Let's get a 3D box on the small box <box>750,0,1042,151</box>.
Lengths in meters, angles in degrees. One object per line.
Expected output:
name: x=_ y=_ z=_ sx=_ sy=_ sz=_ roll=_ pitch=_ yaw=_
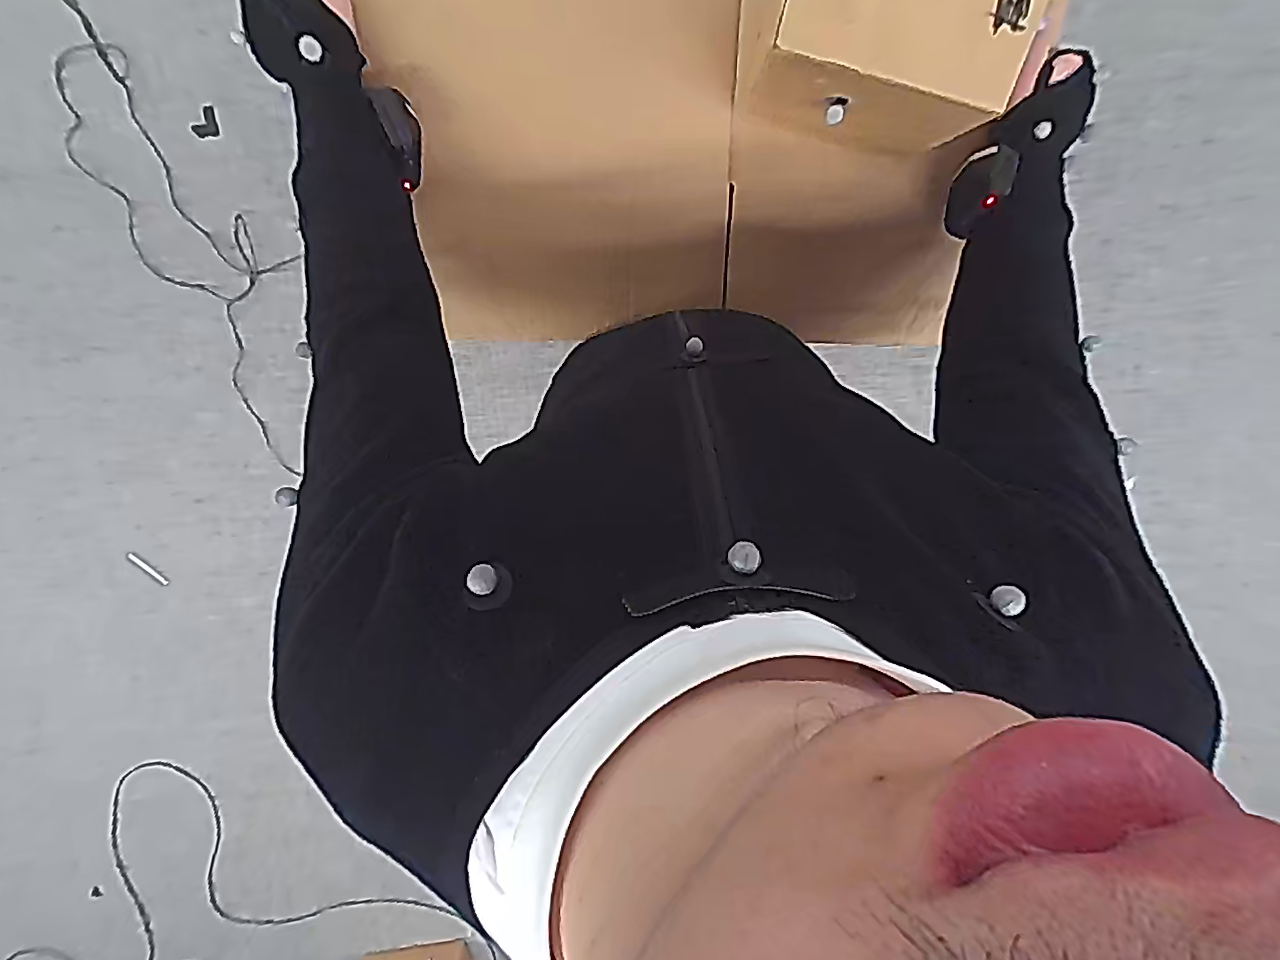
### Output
small box: x=0.201 y=-0.391 z=0.437 sx=0.179 sy=0.176 sz=0.168 roll=14 pitch=110 yaw=-2
